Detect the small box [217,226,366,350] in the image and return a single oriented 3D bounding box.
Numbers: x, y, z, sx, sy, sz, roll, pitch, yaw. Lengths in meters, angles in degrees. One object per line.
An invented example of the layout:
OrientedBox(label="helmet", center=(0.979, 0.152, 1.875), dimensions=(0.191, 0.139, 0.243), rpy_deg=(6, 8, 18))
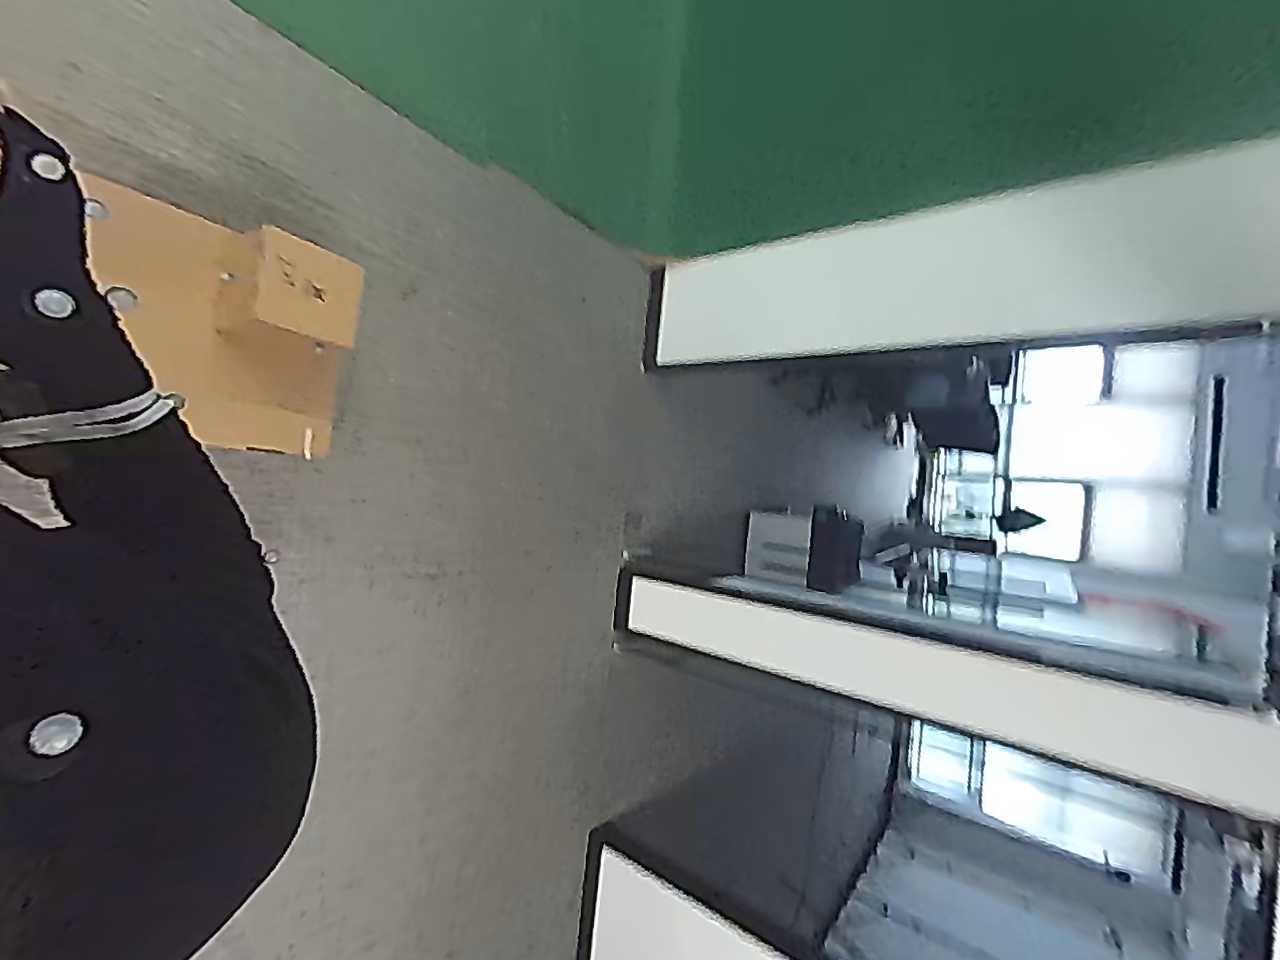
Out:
OrientedBox(label="small box", center=(-0.659, -0.350, 1.027), dimensions=(0.179, 0.176, 0.168), rpy_deg=(10, 85, -56))
